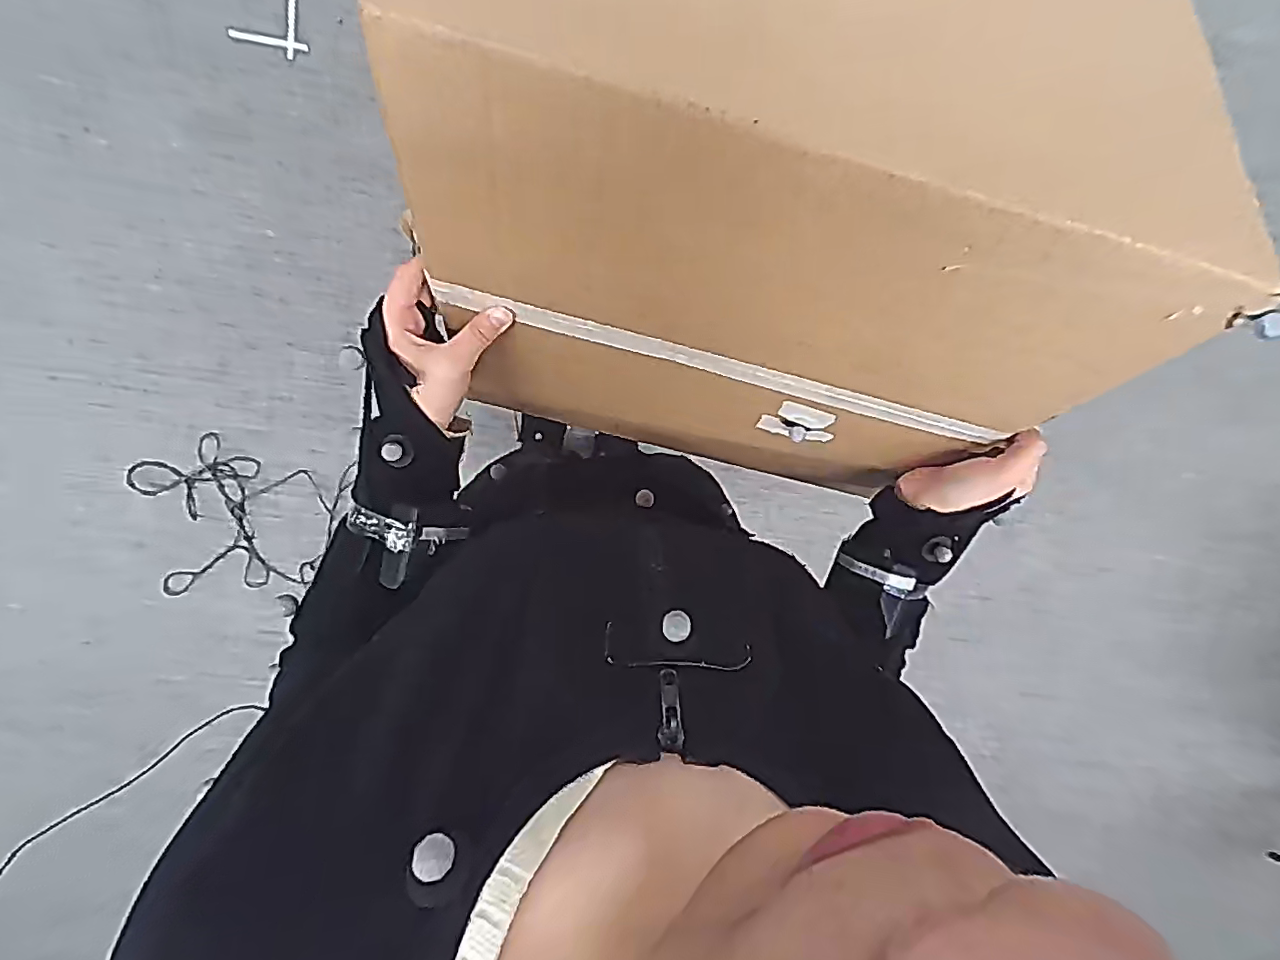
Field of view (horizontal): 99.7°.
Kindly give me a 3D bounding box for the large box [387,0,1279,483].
[{"bbox_3d":[0.102,-0.227,0.389,0.408,0.320,0.320,13,70,-6],"label":"large box"}]
